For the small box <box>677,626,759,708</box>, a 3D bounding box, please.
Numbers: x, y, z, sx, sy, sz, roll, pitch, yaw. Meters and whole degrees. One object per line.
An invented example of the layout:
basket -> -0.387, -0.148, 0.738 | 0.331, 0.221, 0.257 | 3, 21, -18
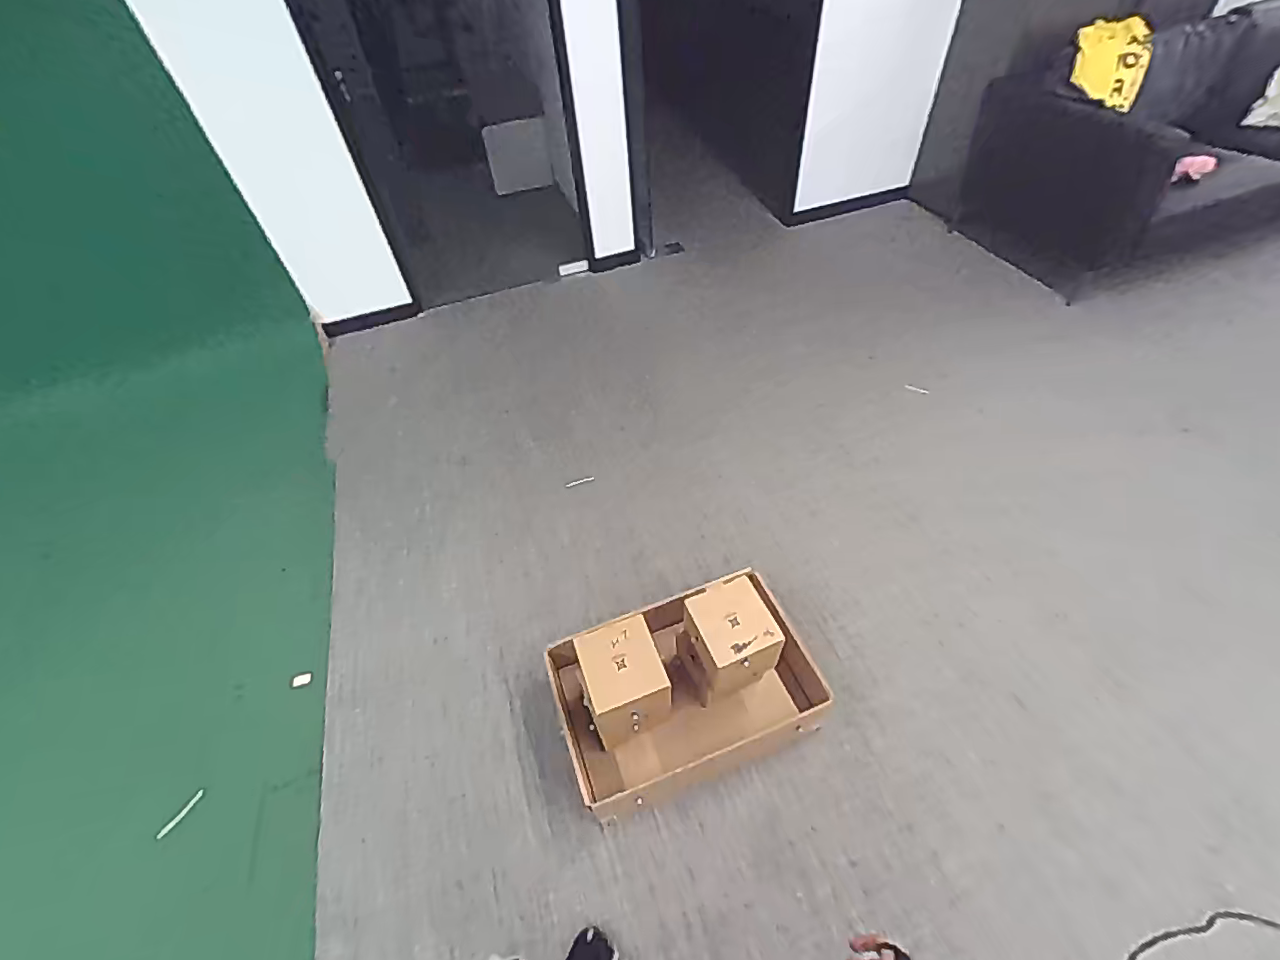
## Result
small box -> 0.208, 0.459, 1.398 | 0.179, 0.176, 0.168 | -20, 51, -15

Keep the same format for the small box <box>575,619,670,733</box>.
small box -> -0.036, 0.448, 1.215 | 0.168, 0.176, 0.179 | -17, 51, -11

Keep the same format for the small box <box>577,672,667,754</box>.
small box -> -0.040, 0.550, 1.343 | 0.179, 0.176, 0.168 | -20, 52, -14

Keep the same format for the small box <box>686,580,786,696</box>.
small box -> 0.214, 0.371, 1.262 | 0.168, 0.176, 0.179 | -20, 50, -11
